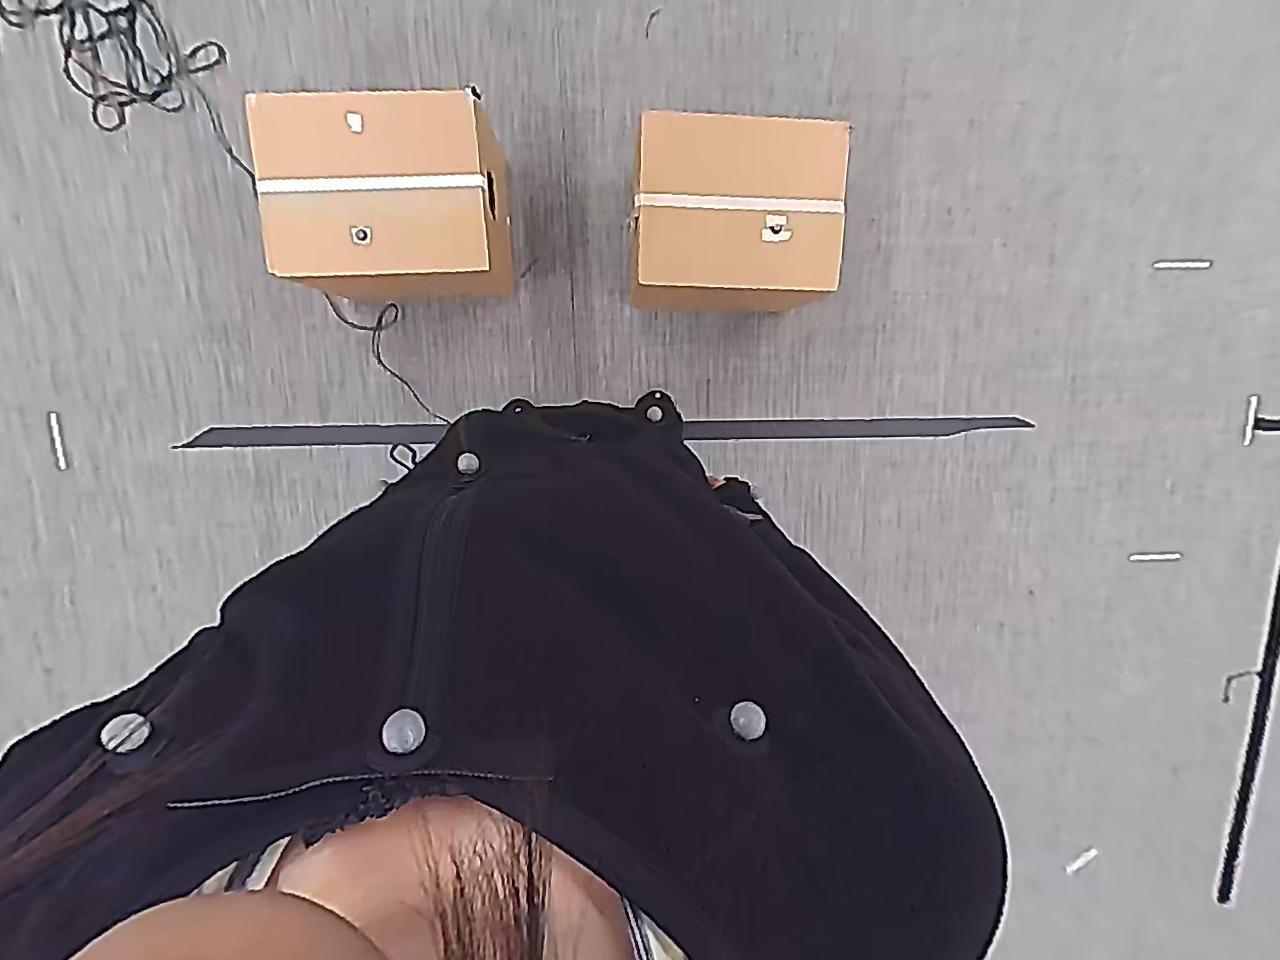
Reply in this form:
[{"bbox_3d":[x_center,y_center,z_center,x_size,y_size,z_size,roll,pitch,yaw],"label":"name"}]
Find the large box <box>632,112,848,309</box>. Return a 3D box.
[{"bbox_3d":[0.191,-0.563,1.200,0.408,0.320,0.320,1,100,-5],"label":"large box"}]
